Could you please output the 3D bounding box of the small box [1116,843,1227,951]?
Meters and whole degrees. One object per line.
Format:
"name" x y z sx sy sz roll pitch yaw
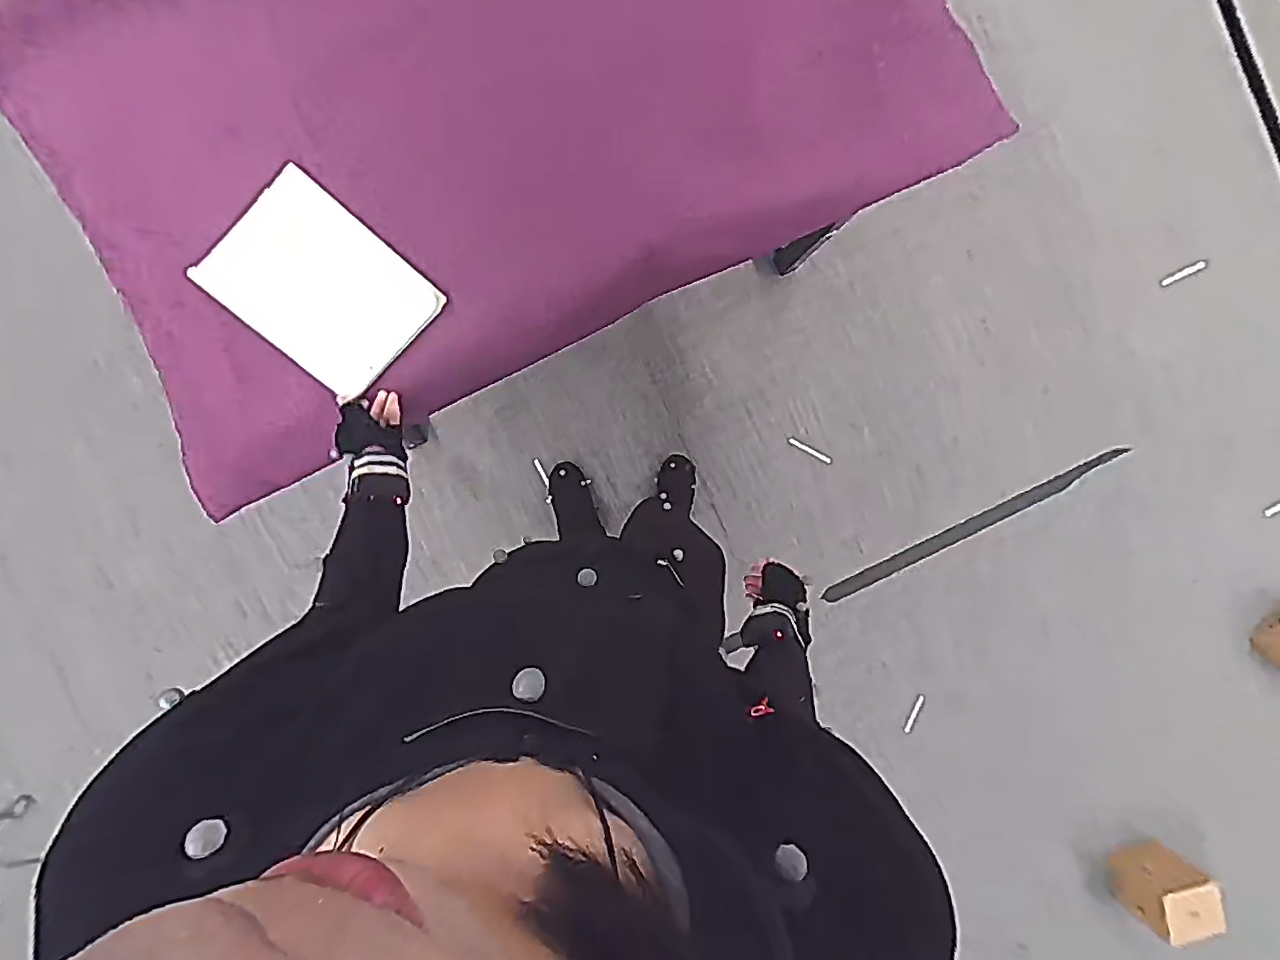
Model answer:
"small box" 1.583 1.243 1.624 0.179 0.176 0.168 -14 95 -5

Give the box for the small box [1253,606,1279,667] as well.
"small box" 2.045 0.503 1.629 0.179 0.176 0.168 42 88 -4
